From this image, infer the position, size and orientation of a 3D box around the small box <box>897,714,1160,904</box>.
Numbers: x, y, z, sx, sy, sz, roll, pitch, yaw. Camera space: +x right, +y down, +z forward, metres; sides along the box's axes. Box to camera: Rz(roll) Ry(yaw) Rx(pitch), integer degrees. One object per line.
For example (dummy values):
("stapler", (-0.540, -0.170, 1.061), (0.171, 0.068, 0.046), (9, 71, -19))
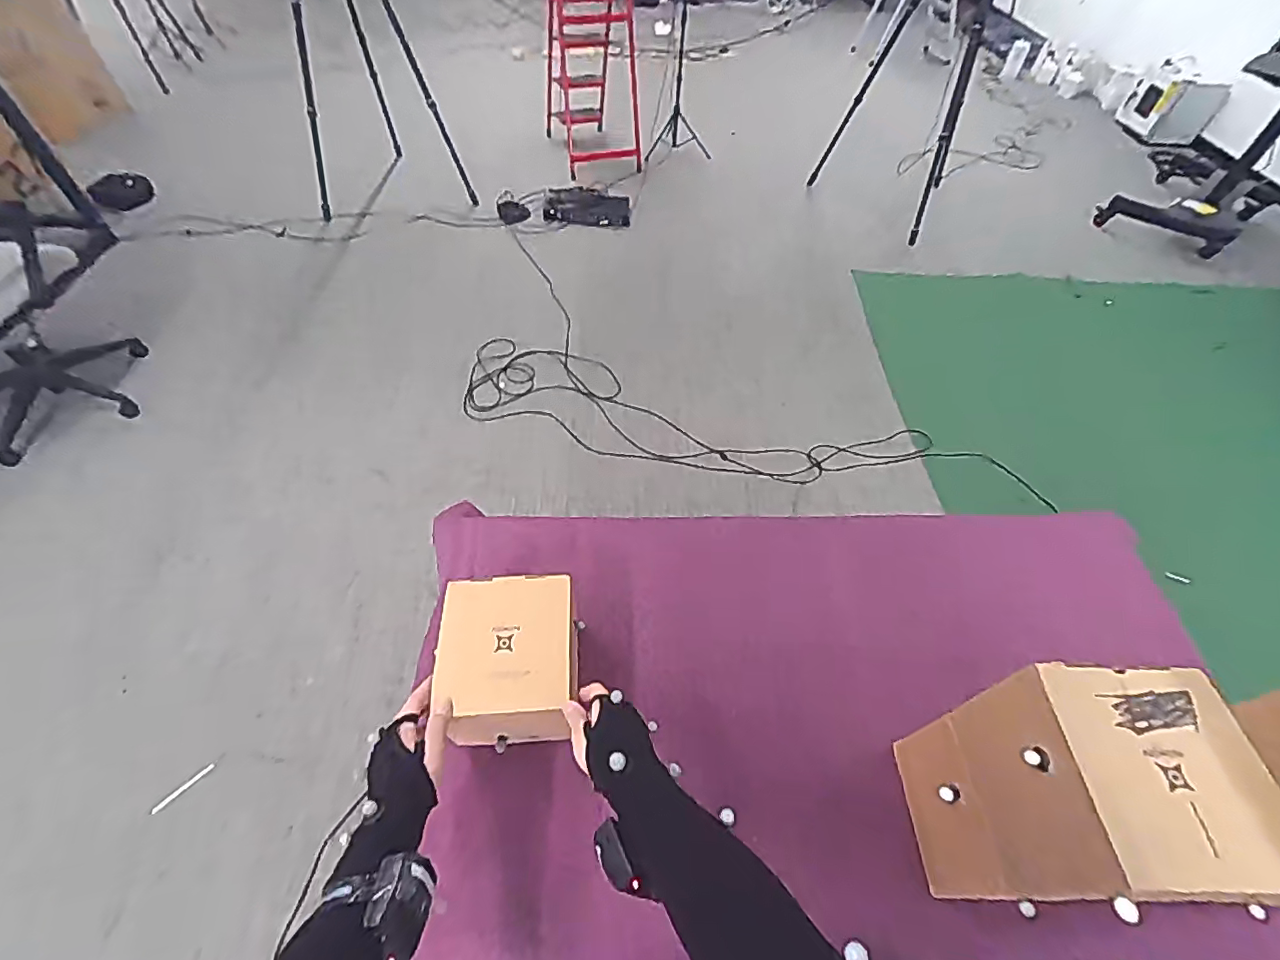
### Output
("small box", (0.440, 0.398, 0.650), (0.168, 0.176, 0.179), (2, 51, -1))

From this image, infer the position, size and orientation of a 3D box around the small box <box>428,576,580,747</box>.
("small box", (-0.171, 0.249, 0.740), (0.168, 0.176, 0.179), (-2, 54, -3))

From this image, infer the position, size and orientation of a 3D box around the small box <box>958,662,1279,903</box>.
("small box", (0.447, 0.294, 0.523), (0.168, 0.176, 0.179), (2, 52, 0))
